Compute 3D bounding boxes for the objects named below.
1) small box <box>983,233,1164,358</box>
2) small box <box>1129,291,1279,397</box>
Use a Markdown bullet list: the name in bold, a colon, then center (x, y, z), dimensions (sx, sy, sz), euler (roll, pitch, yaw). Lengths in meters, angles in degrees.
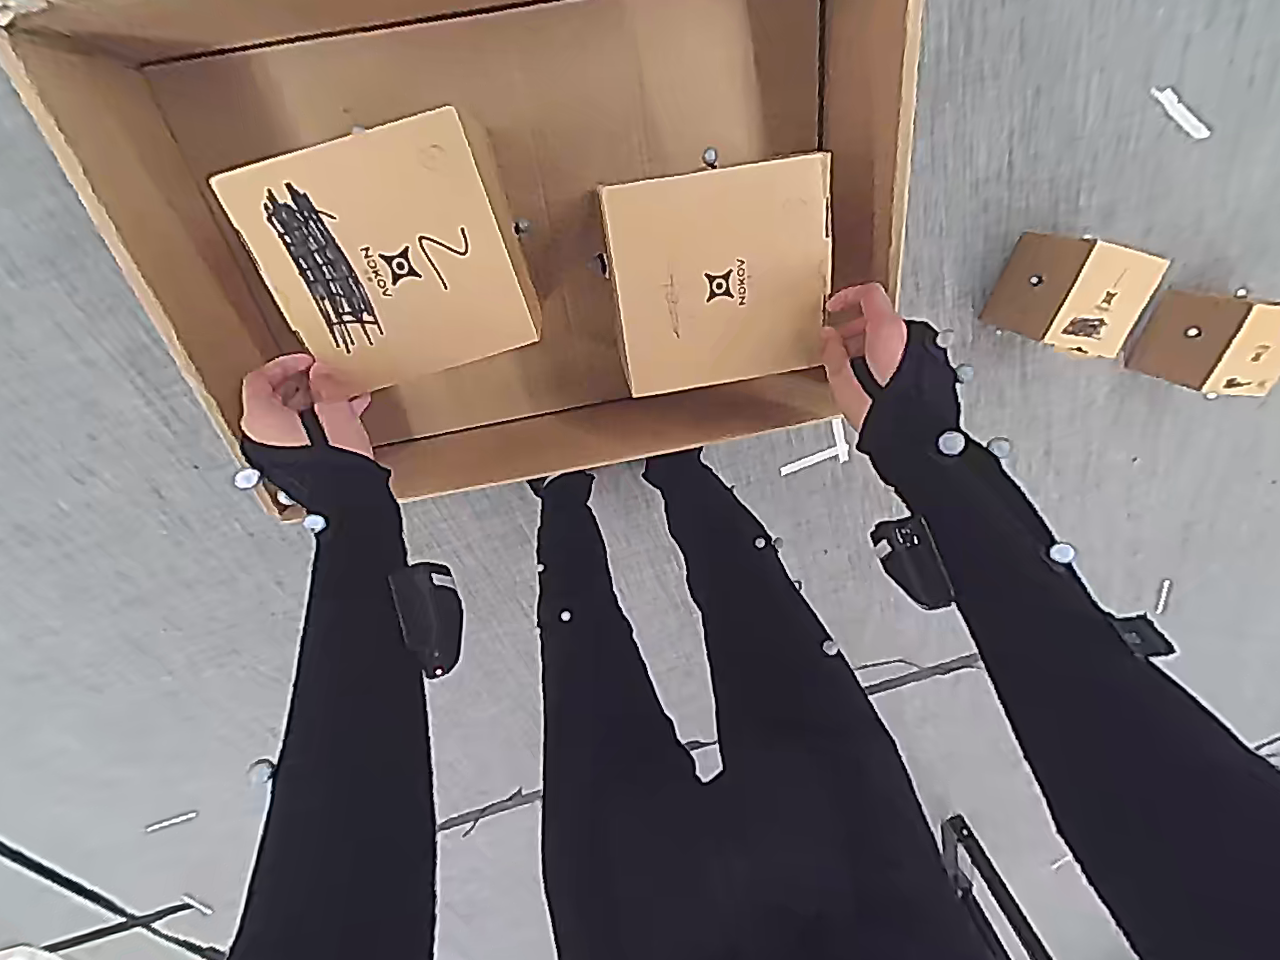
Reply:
- **small box**: center (0.794, -0.350, 1.016), dimensions (0.168, 0.176, 0.179), euler (8, 116, -13)
- **small box**: center (1.174, -0.284, 1.108), dimensions (0.168, 0.176, 0.179), euler (2, 117, -9)
